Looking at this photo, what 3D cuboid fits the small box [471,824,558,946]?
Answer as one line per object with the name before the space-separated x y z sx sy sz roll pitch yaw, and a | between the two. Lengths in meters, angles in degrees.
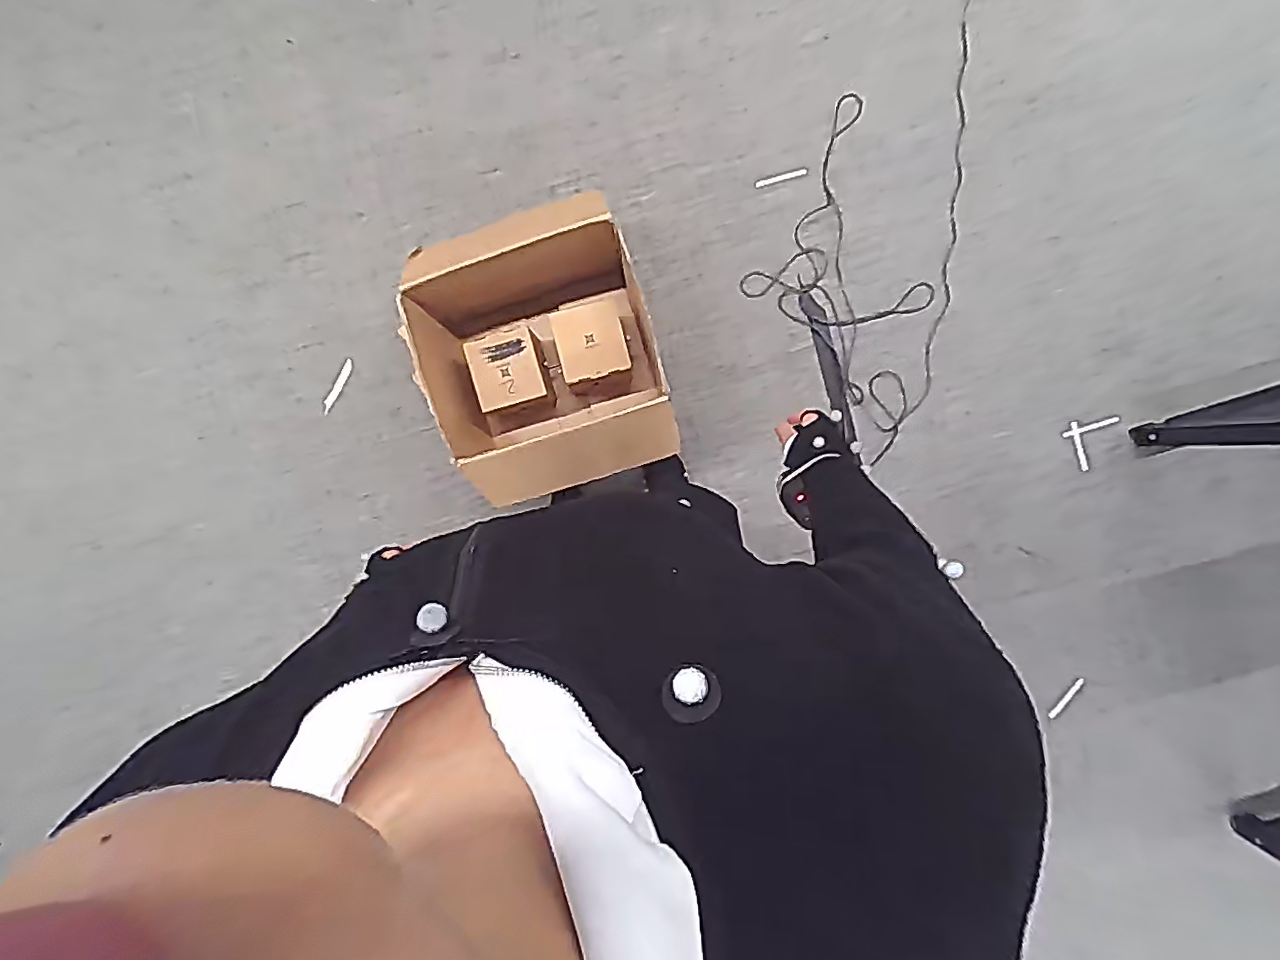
small box | -0.320 1.050 1.413 0.168 0.176 0.179 -14 91 -1
